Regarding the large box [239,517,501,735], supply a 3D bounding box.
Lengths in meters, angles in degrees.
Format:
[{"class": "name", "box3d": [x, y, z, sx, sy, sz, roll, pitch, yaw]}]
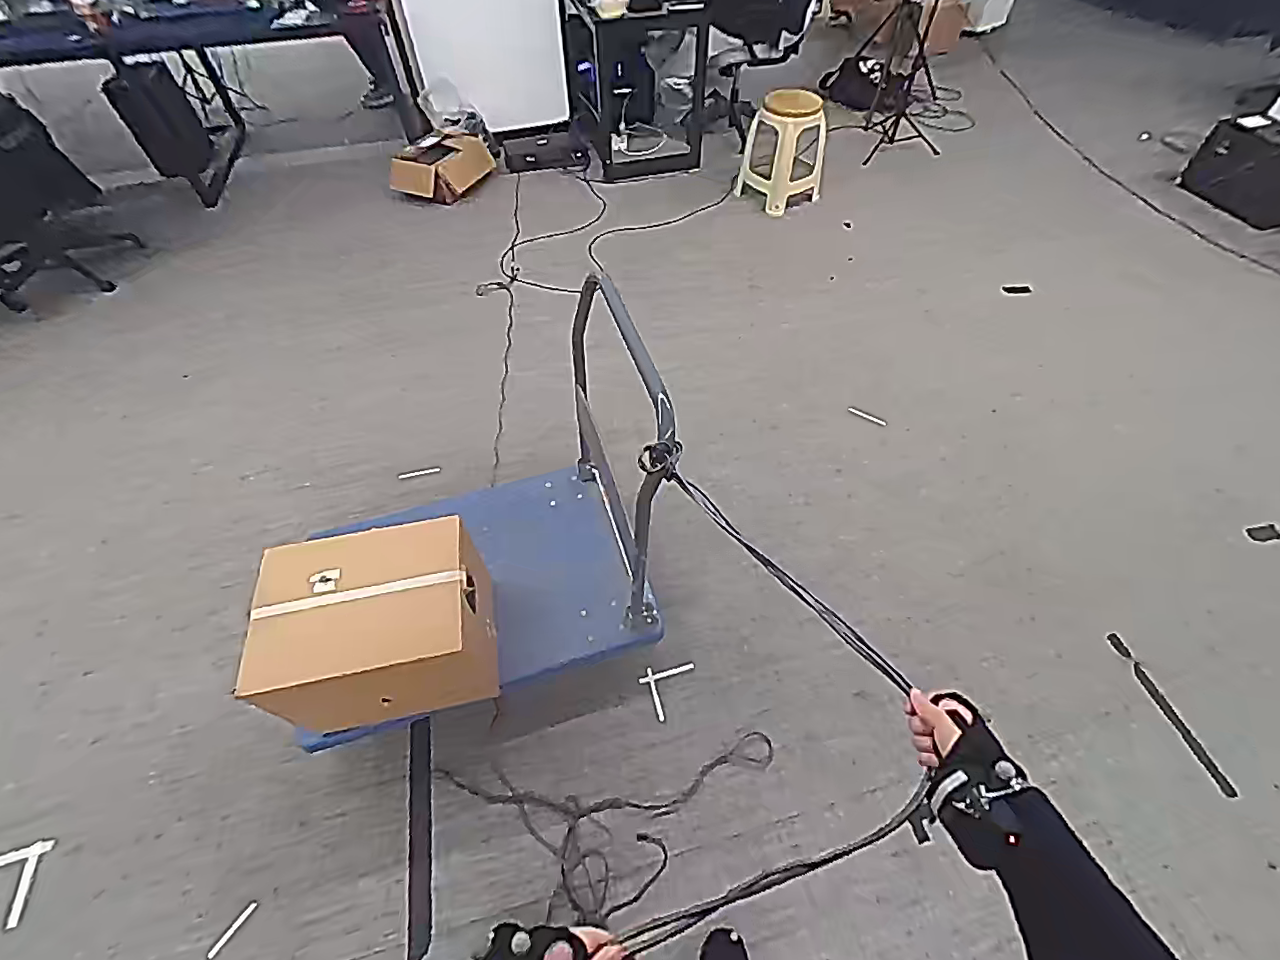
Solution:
[{"class": "large box", "box3d": [-0.548, 0.324, 1.185, 0.408, 0.320, 0.320, -11, 53, -6]}]
